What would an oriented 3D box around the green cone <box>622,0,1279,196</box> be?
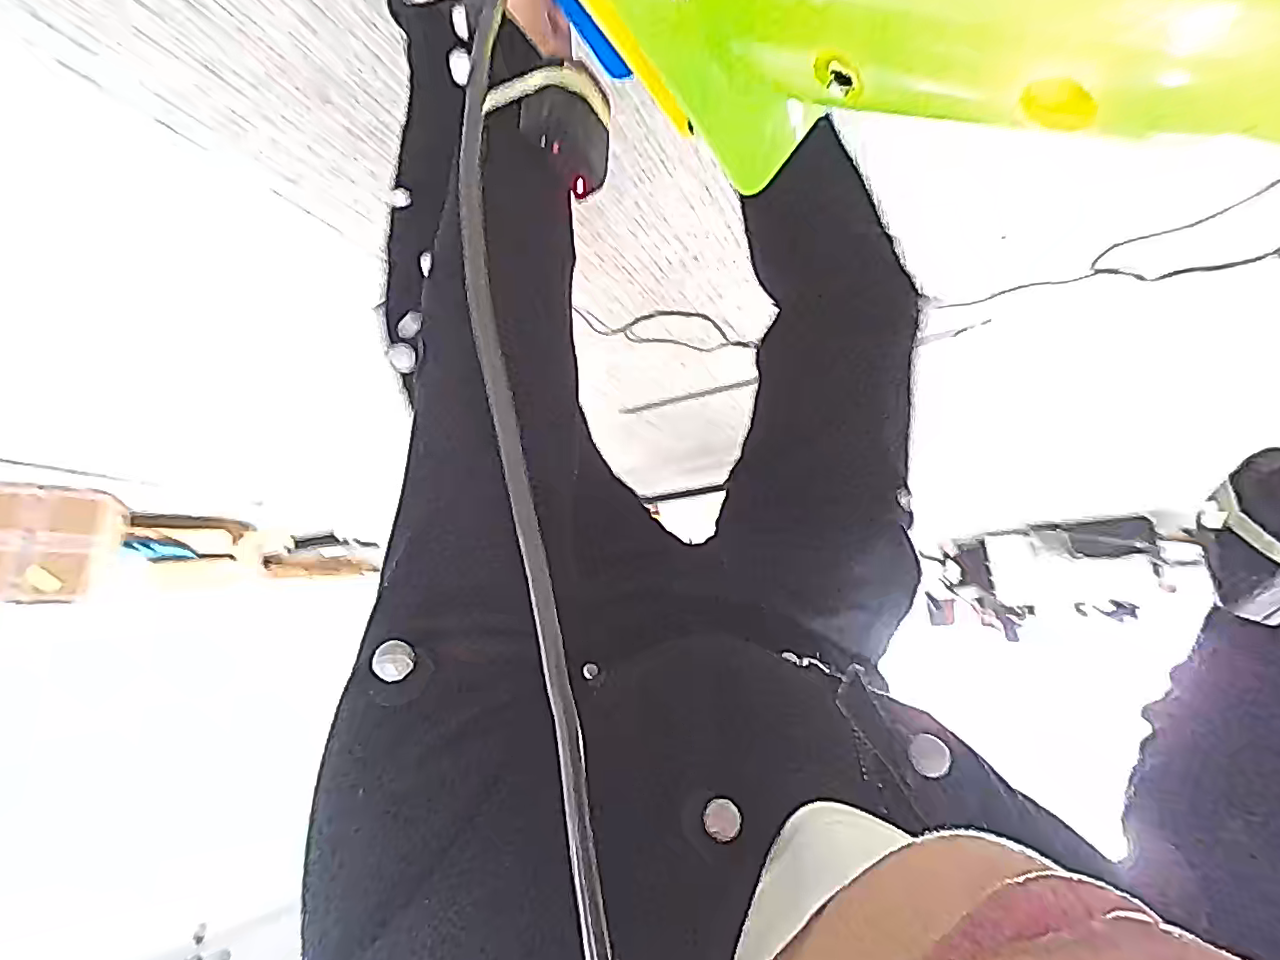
[{"bbox_3d":[0.188,-0.174,0.192,0.202,0.368,0.200,-51,146,17],"label":"green cone"}]
